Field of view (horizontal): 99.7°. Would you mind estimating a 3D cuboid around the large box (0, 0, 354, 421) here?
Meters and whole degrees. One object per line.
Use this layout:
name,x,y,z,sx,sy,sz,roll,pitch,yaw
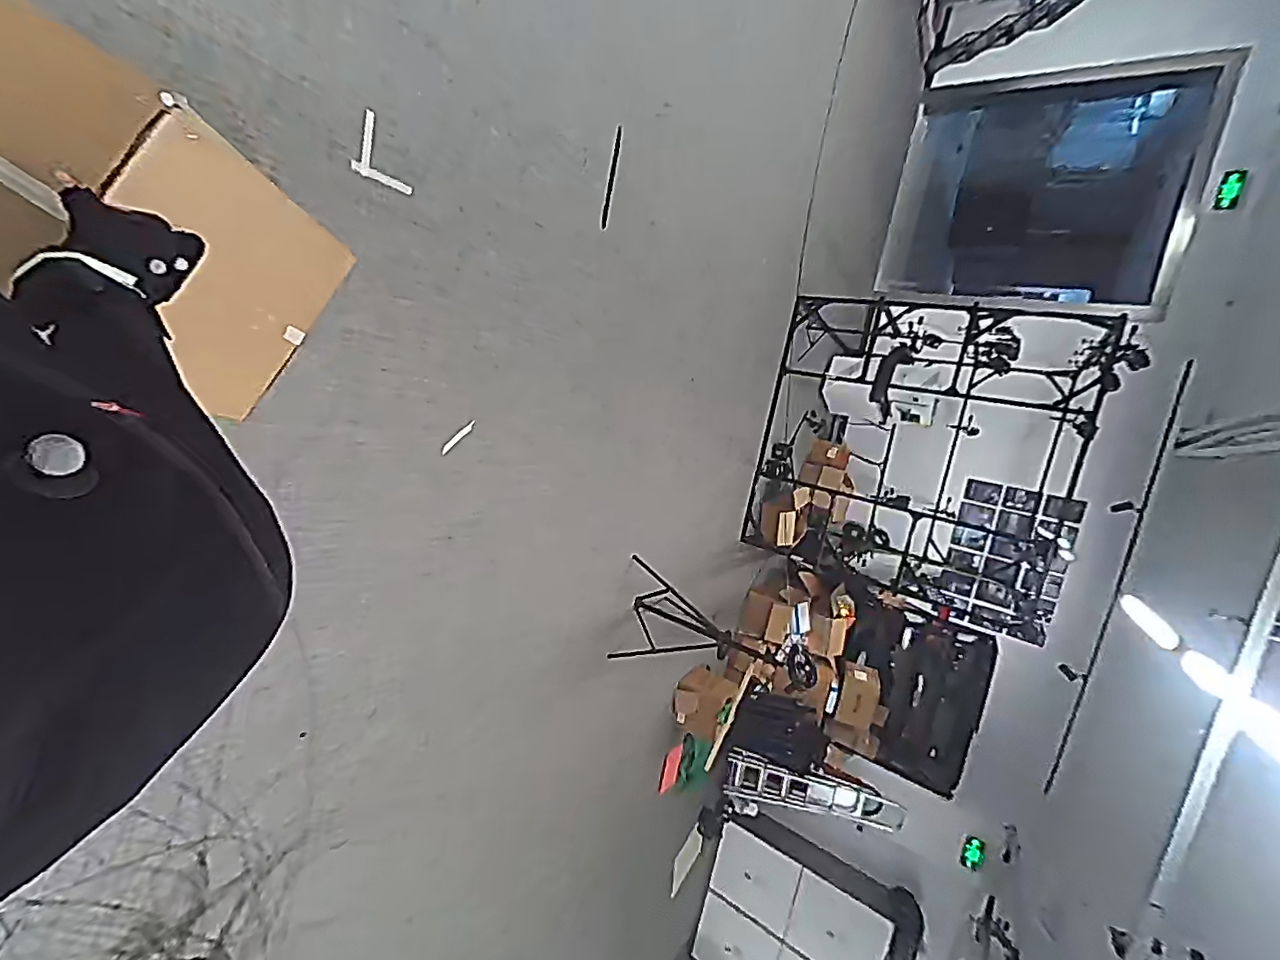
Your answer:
large box,-0.698,-0.333,0.713,0.320,0.408,0.320,-57,174,-3
